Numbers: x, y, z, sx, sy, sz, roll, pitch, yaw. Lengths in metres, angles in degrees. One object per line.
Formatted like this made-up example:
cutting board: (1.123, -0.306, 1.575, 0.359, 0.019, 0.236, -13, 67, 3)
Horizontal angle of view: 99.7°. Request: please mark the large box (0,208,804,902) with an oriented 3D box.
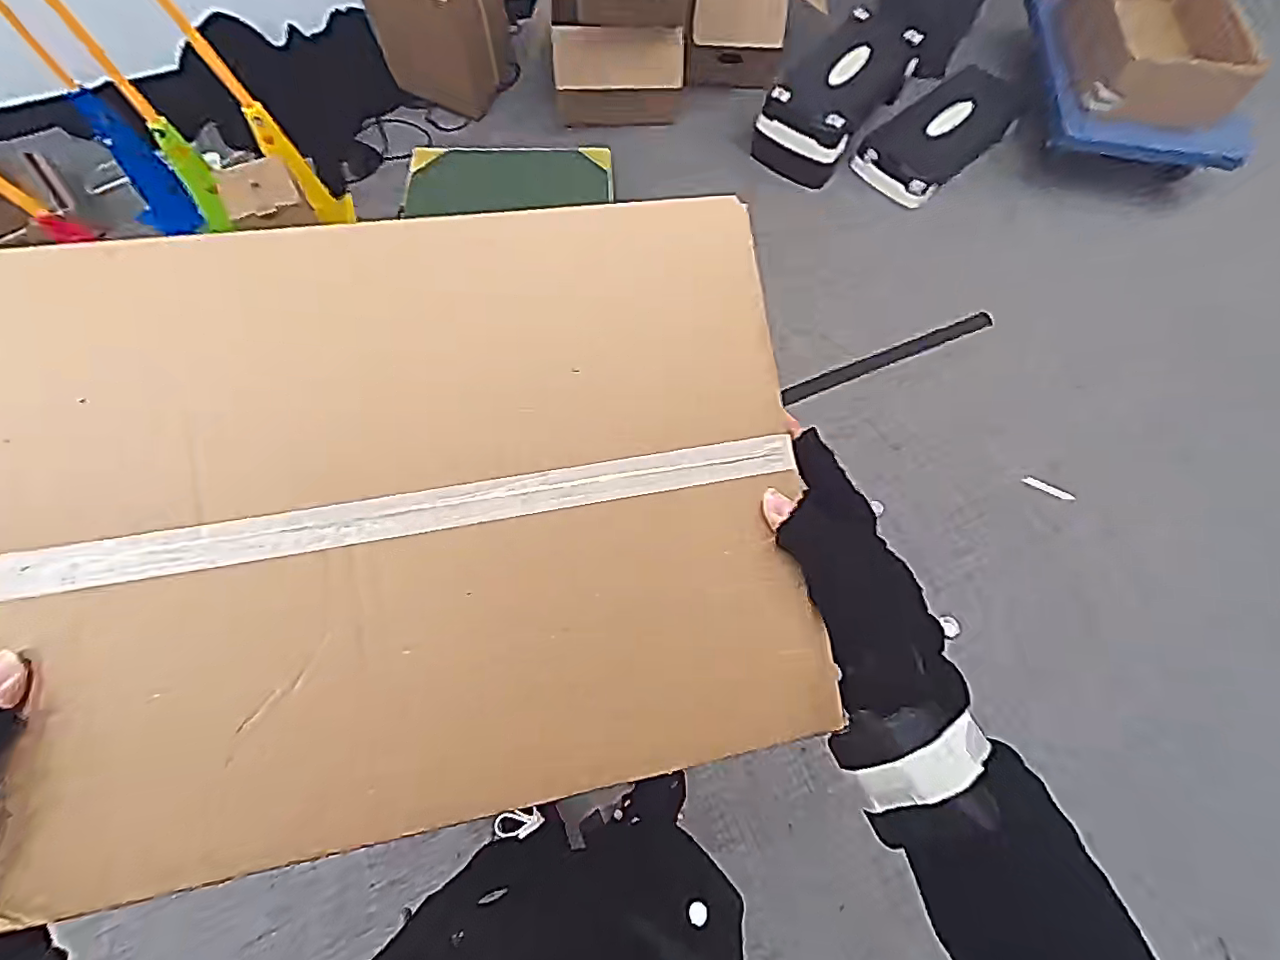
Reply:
large box: (-0.142, 0.027, 0.439, 0.408, 0.320, 0.320, -9, 85, -9)
